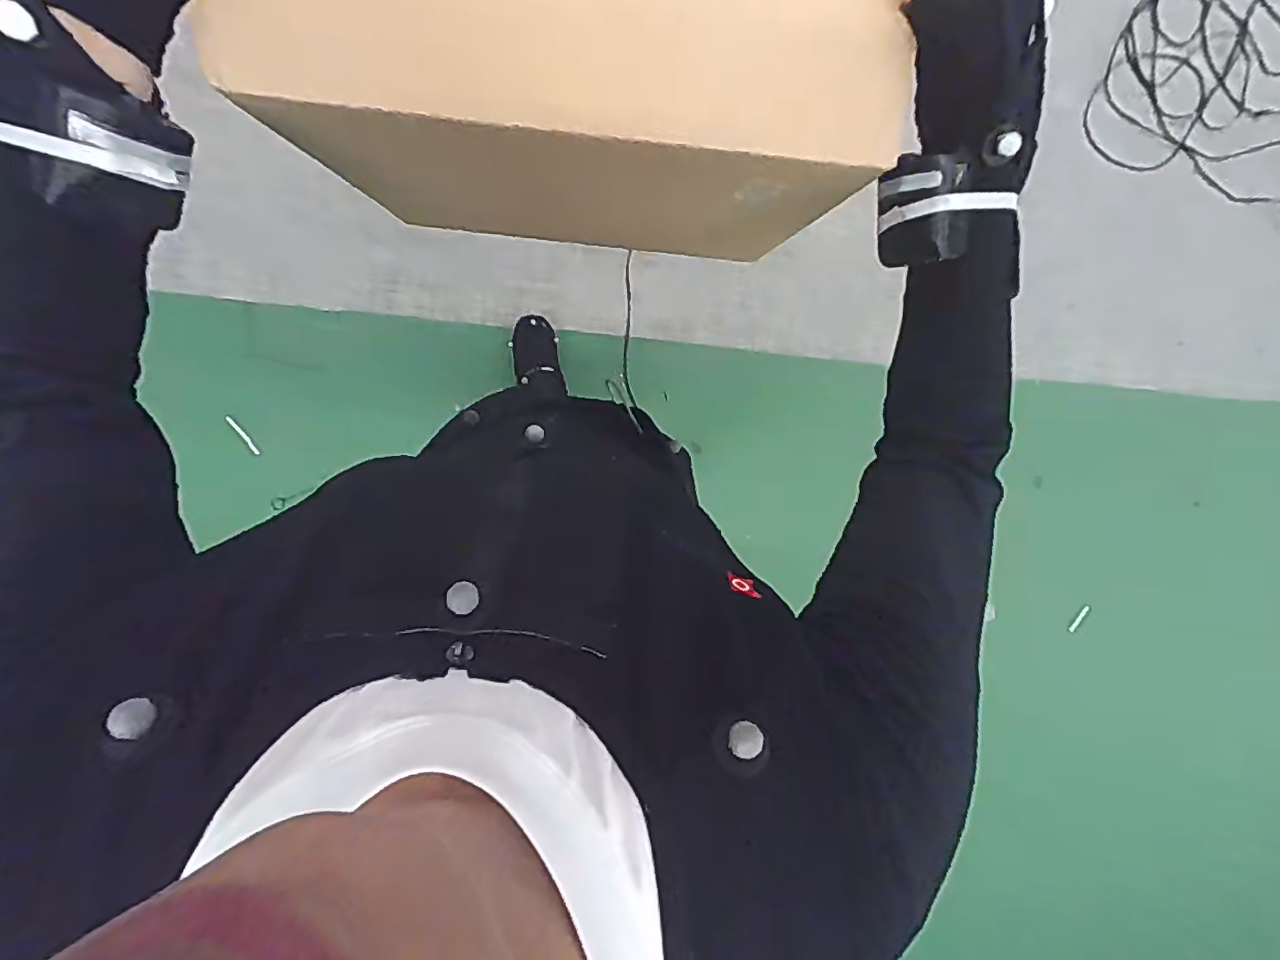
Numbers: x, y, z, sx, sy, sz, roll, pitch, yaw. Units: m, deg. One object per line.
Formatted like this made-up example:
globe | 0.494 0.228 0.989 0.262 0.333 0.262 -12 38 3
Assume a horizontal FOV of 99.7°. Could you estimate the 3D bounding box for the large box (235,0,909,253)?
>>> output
large box | -0.038 -0.395 0.449 0.408 0.320 0.320 4 102 -5
